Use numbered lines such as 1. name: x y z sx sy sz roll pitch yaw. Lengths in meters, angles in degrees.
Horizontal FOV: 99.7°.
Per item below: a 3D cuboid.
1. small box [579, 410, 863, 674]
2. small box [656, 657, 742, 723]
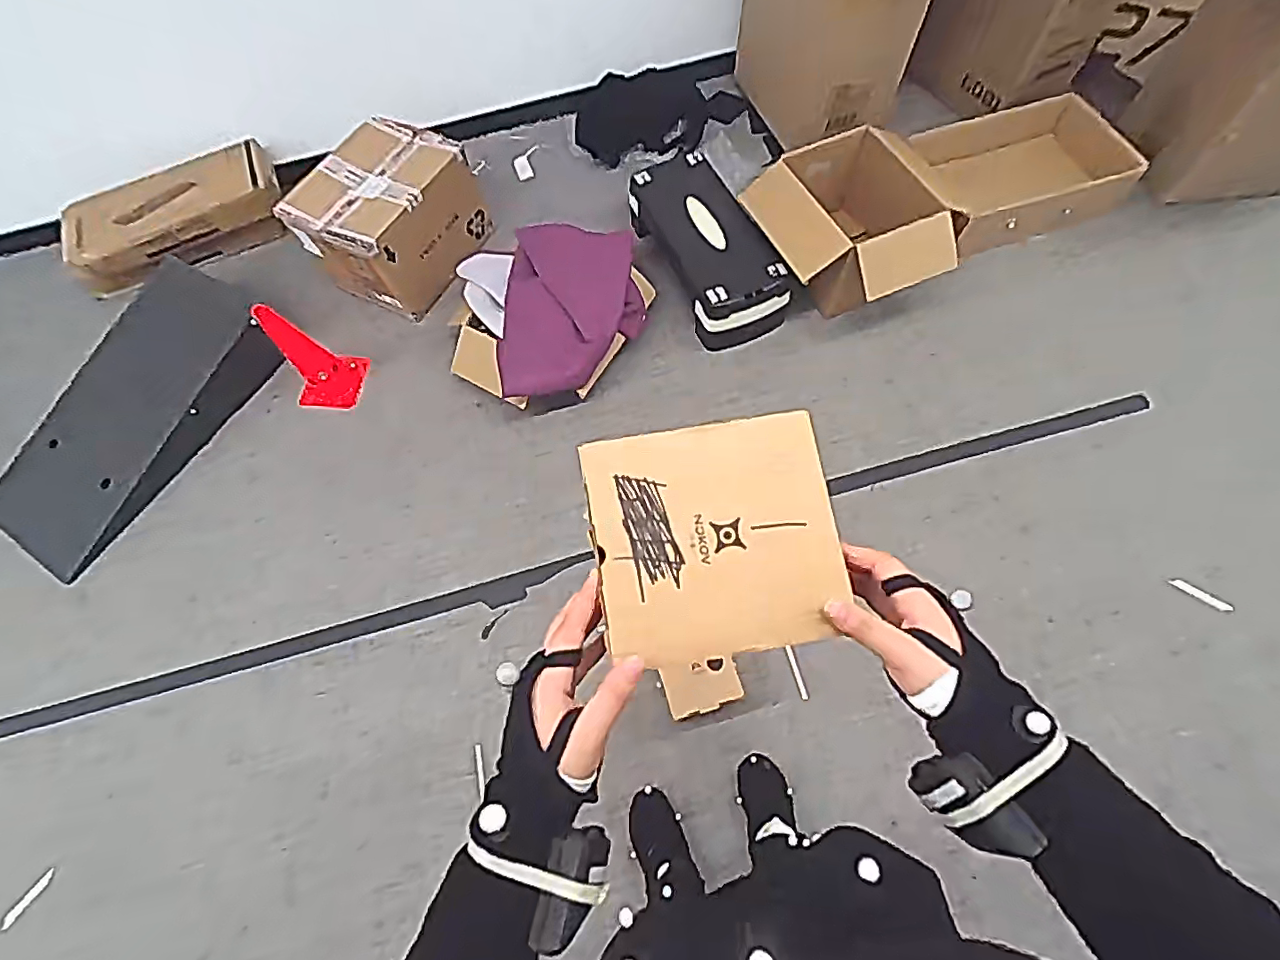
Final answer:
1. small box: 0.053 0.056 0.456 0.179 0.176 0.168 -9 79 -3
2. small box: 0.127 0.451 1.266 0.168 0.176 0.179 -17 67 -3
